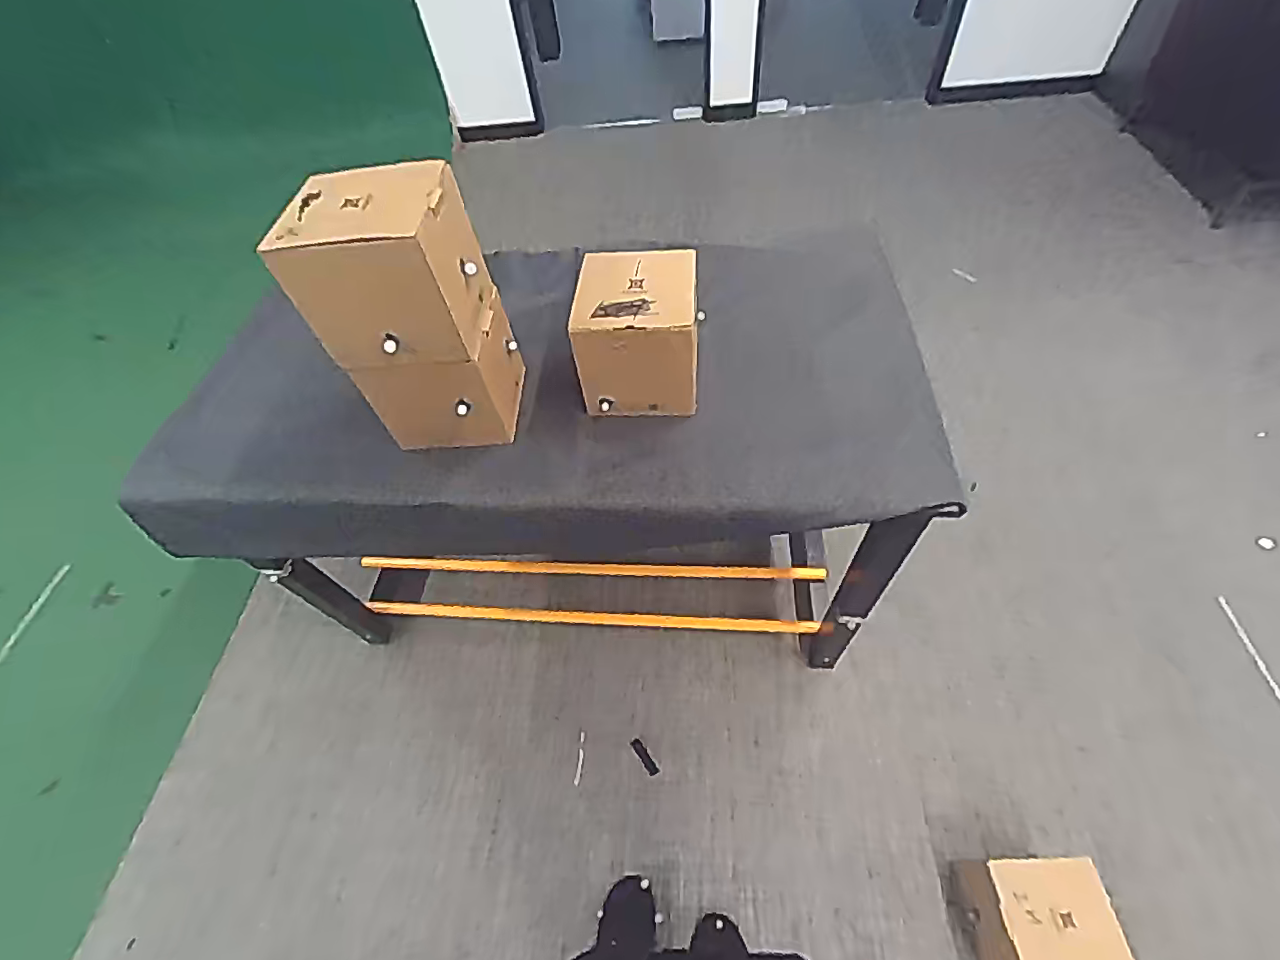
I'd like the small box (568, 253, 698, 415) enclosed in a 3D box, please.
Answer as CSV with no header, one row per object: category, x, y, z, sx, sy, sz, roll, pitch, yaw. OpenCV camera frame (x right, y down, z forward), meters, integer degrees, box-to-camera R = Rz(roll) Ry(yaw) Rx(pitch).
small box,0.001,-0.212,0.807,0.168,0.176,0.179,1,54,7

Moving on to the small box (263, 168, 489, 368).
small box,-0.303,-0.256,0.670,0.179,0.176,0.168,-3,53,4

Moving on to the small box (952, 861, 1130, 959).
small box,0.681,0.761,0.932,0.179,0.176,0.168,-4,54,3

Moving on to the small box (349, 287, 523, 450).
small box,-0.283,-0.160,0.802,0.179,0.176,0.168,-4,53,4
